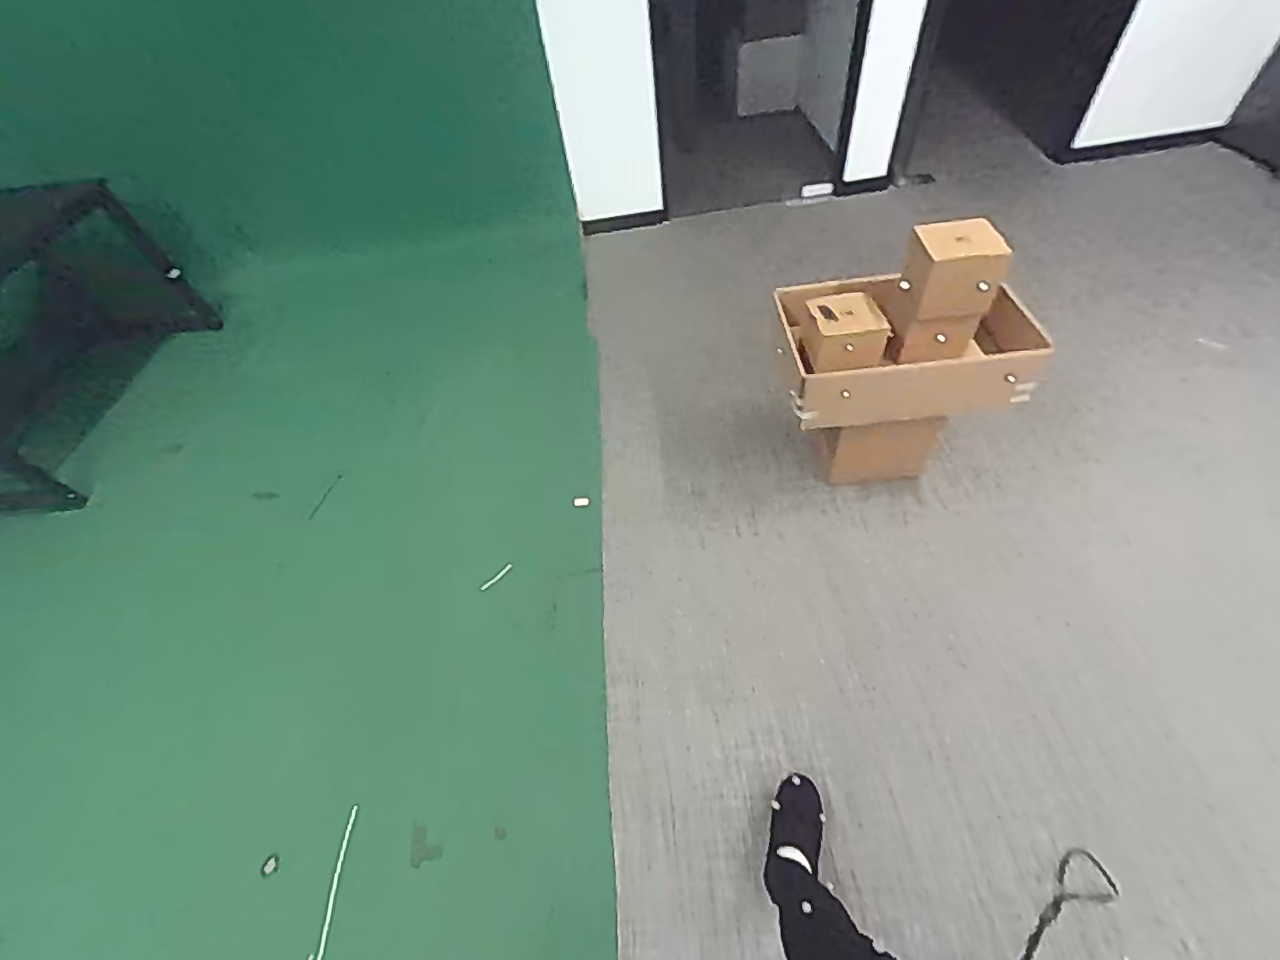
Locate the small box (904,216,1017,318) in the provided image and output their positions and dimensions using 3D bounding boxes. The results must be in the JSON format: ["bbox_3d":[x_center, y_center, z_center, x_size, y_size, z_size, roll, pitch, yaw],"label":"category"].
[{"bbox_3d":[0.784,-0.526,1.344,0.179,0.176,0.168,-4,51,8],"label":"small box"}]
